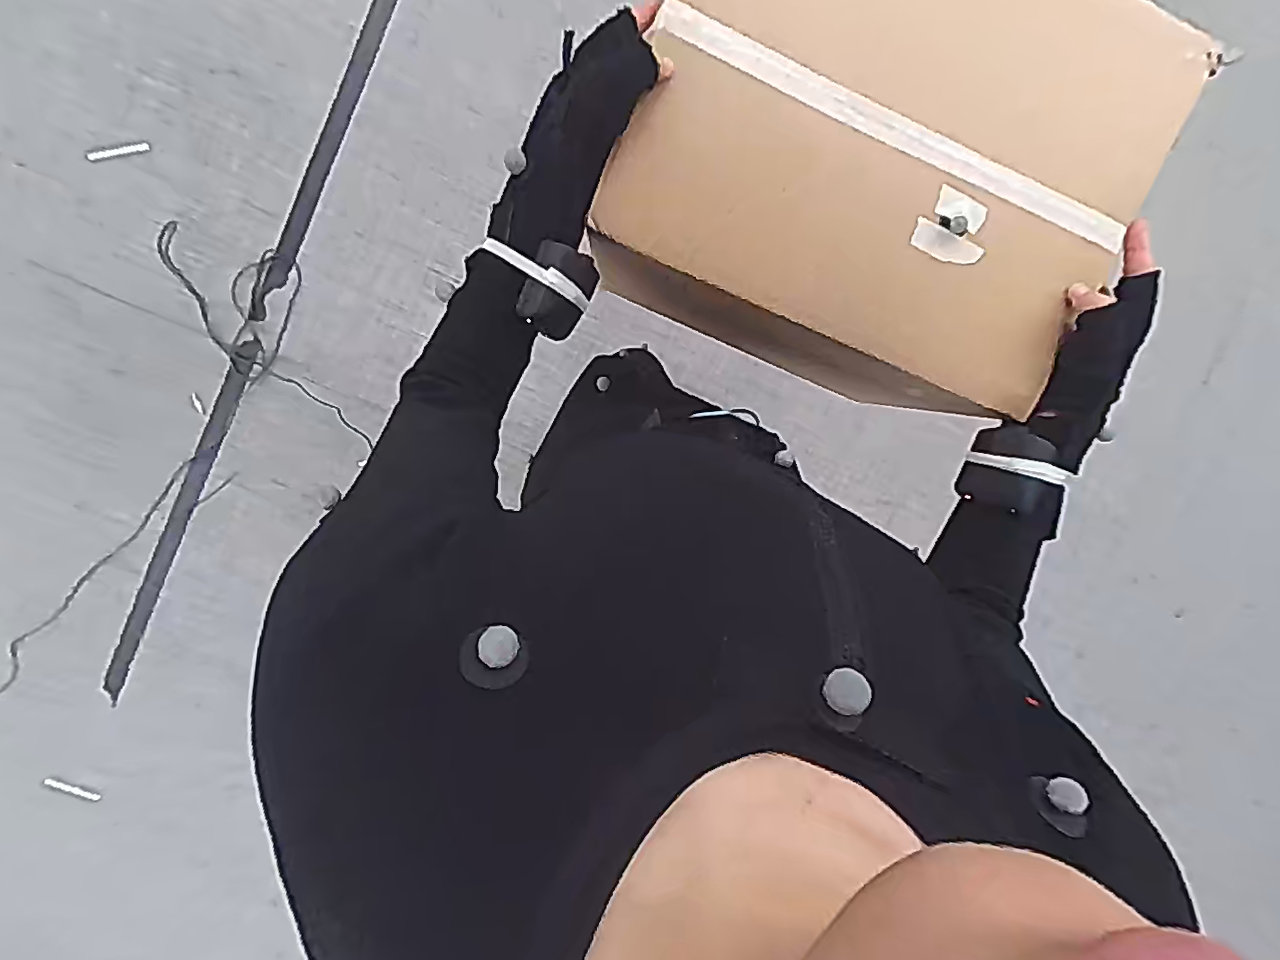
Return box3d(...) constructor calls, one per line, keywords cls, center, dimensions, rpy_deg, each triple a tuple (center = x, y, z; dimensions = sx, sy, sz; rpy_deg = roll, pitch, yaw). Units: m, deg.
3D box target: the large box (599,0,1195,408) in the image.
box3d(cls="large box", center=(0.193, -0.300, 0.574), dimensions=(0.408, 0.320, 0.320), rpy_deg=(22, 101, -7))
